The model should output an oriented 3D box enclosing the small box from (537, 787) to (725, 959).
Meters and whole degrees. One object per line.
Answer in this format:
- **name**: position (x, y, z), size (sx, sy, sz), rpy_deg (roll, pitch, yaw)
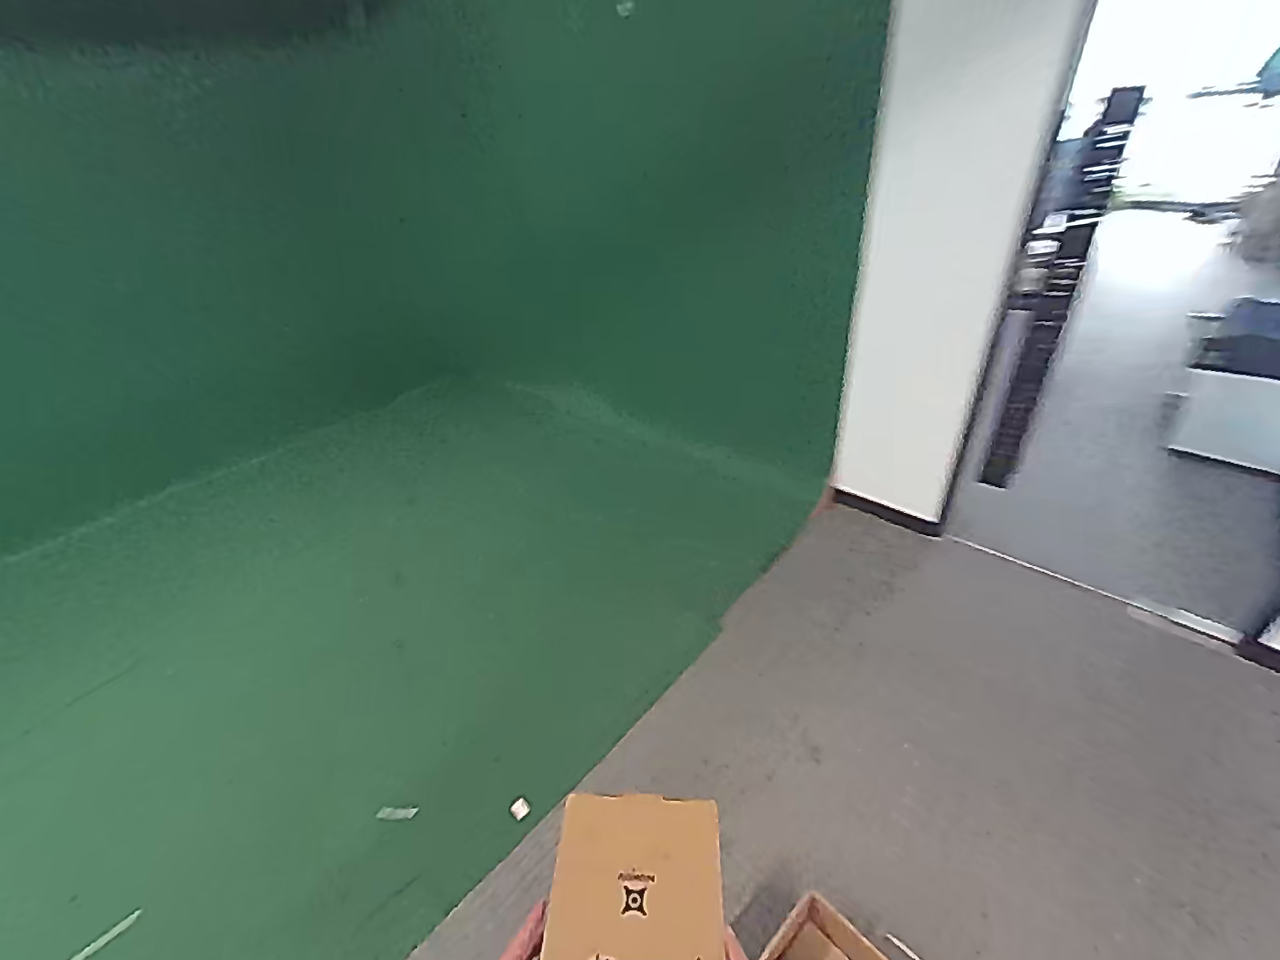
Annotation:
- **small box**: position (-0.002, 0.451, 0.559), size (0.168, 0.176, 0.179), rpy_deg (0, 35, 4)
